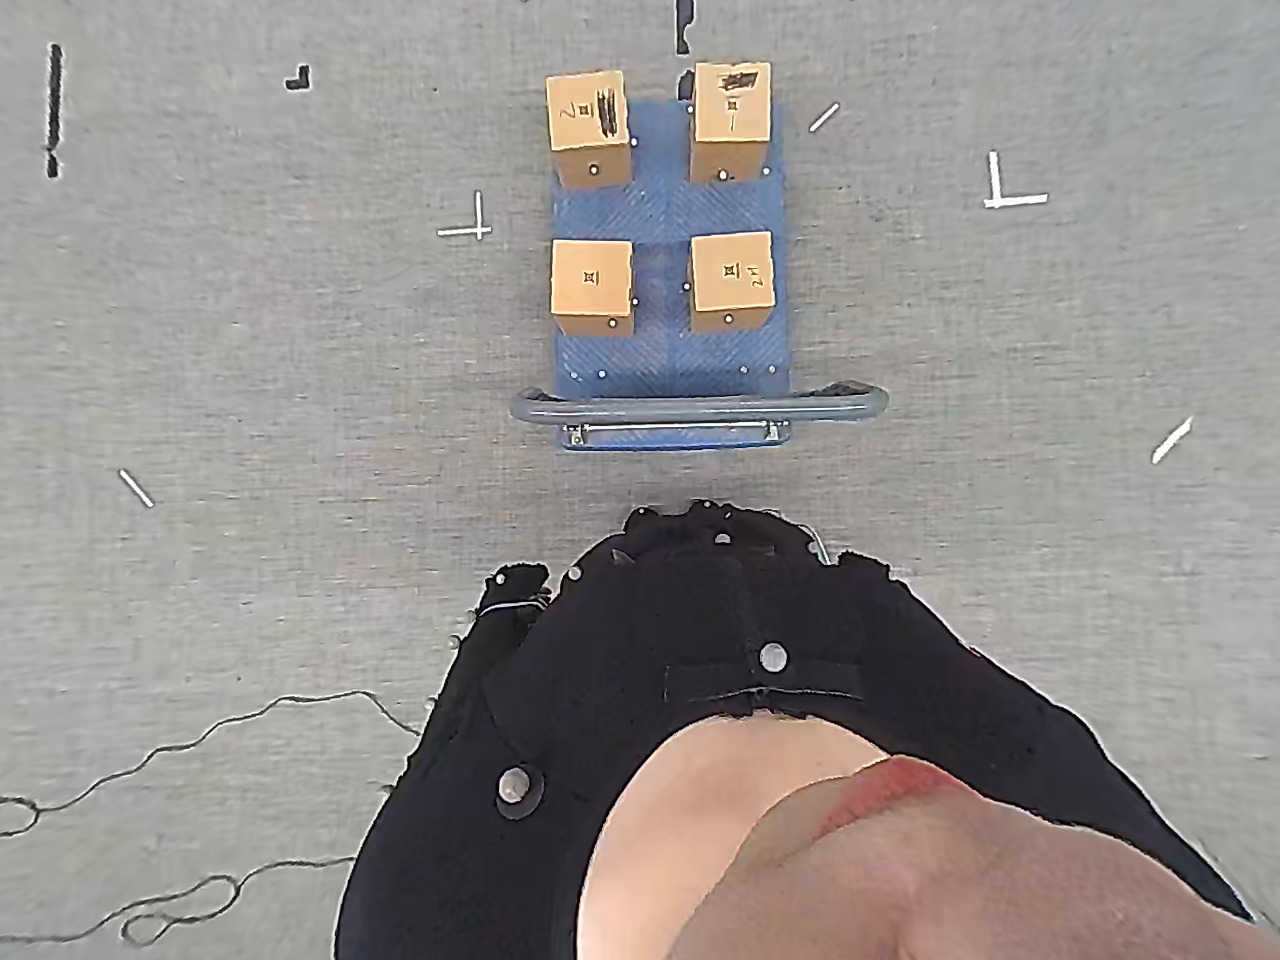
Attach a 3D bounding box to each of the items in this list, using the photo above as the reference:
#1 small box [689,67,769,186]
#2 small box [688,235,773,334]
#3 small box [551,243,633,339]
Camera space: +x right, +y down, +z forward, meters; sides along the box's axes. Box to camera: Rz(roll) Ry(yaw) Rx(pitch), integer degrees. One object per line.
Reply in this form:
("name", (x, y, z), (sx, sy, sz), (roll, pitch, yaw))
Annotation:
("small box", (0.202, -0.821, 1.267), (0.168, 0.176, 0.179), (0, 90, 1))
("small box", (0.203, -0.447, 1.259), (0.179, 0.176, 0.168), (-4, 89, 1))
("small box", (-0.106, -0.435, 1.266), (0.179, 0.176, 0.168), (1, 88, 0))
